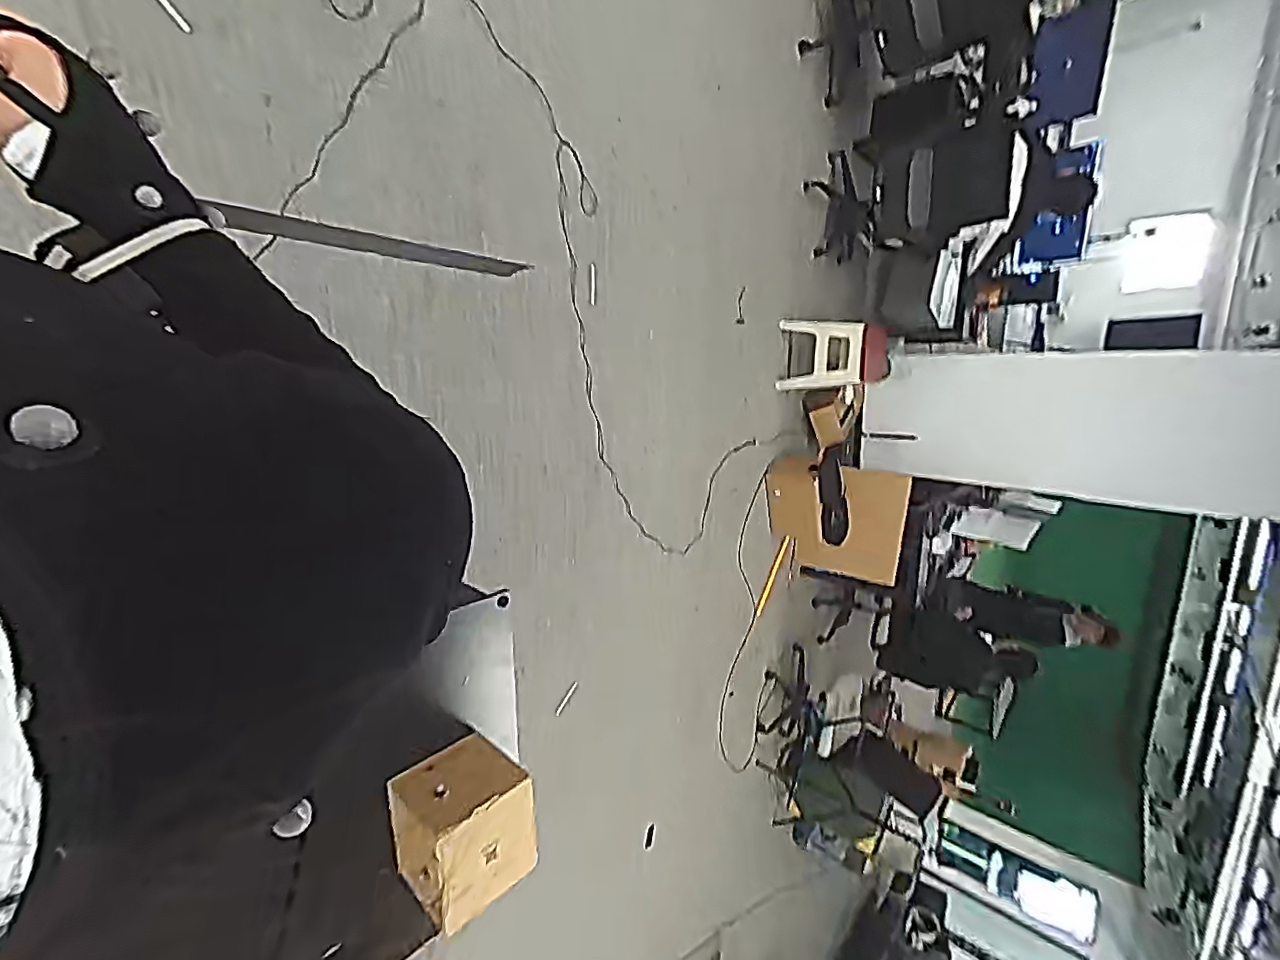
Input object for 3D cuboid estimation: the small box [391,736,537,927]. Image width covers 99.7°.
[{"bbox_3d":[-0.290,0.553,0.889,0.168,0.176,0.179,-15,109,-45],"label":"small box"}]
